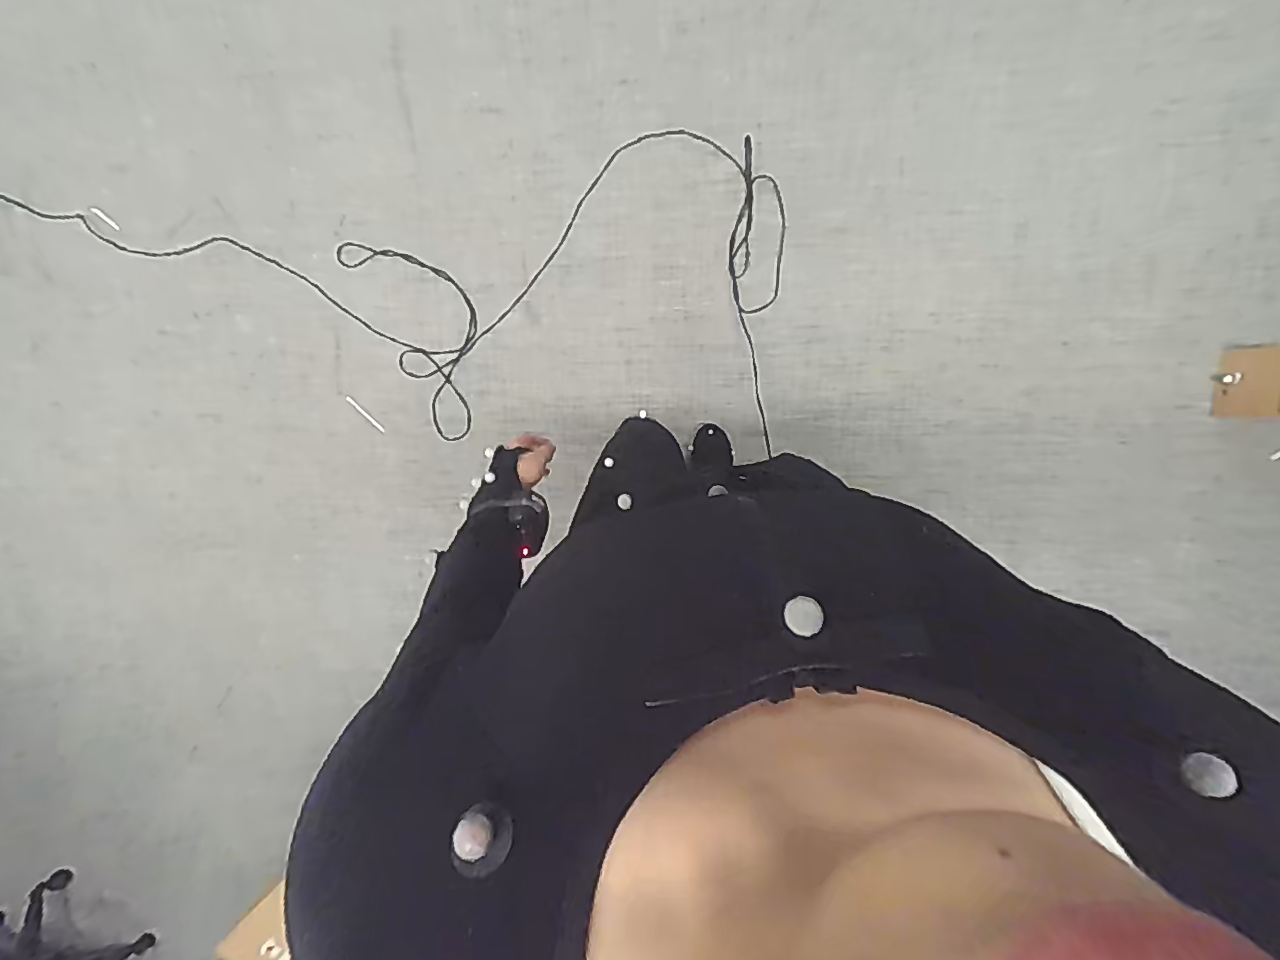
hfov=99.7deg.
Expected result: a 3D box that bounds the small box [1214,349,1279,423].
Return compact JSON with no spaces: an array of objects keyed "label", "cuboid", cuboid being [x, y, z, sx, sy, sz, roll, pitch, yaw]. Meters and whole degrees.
[{"label":"small box","cuboid":[1.516,-0.219,1.254,0.179,0.176,0.168,1,99,6]}]
